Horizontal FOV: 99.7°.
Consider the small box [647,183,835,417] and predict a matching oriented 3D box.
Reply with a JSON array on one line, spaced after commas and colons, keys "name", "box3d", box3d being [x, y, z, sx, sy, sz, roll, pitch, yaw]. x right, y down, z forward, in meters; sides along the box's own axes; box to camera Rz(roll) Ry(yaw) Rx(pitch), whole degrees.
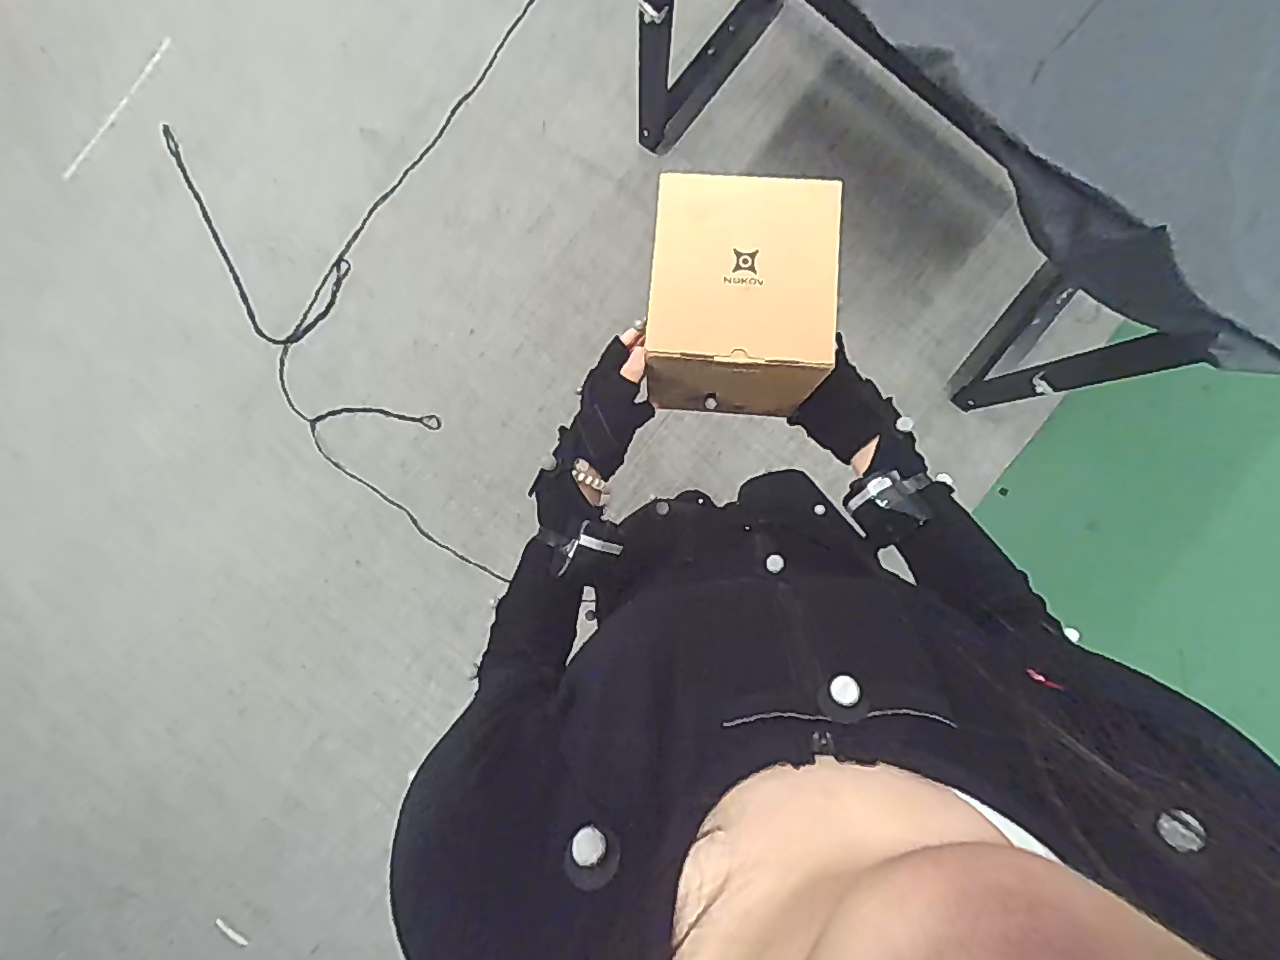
[{"name": "small box", "box3d": [0.095, -0.176, 0.573, 0.168, 0.176, 0.179, 4, 83, 3]}]
